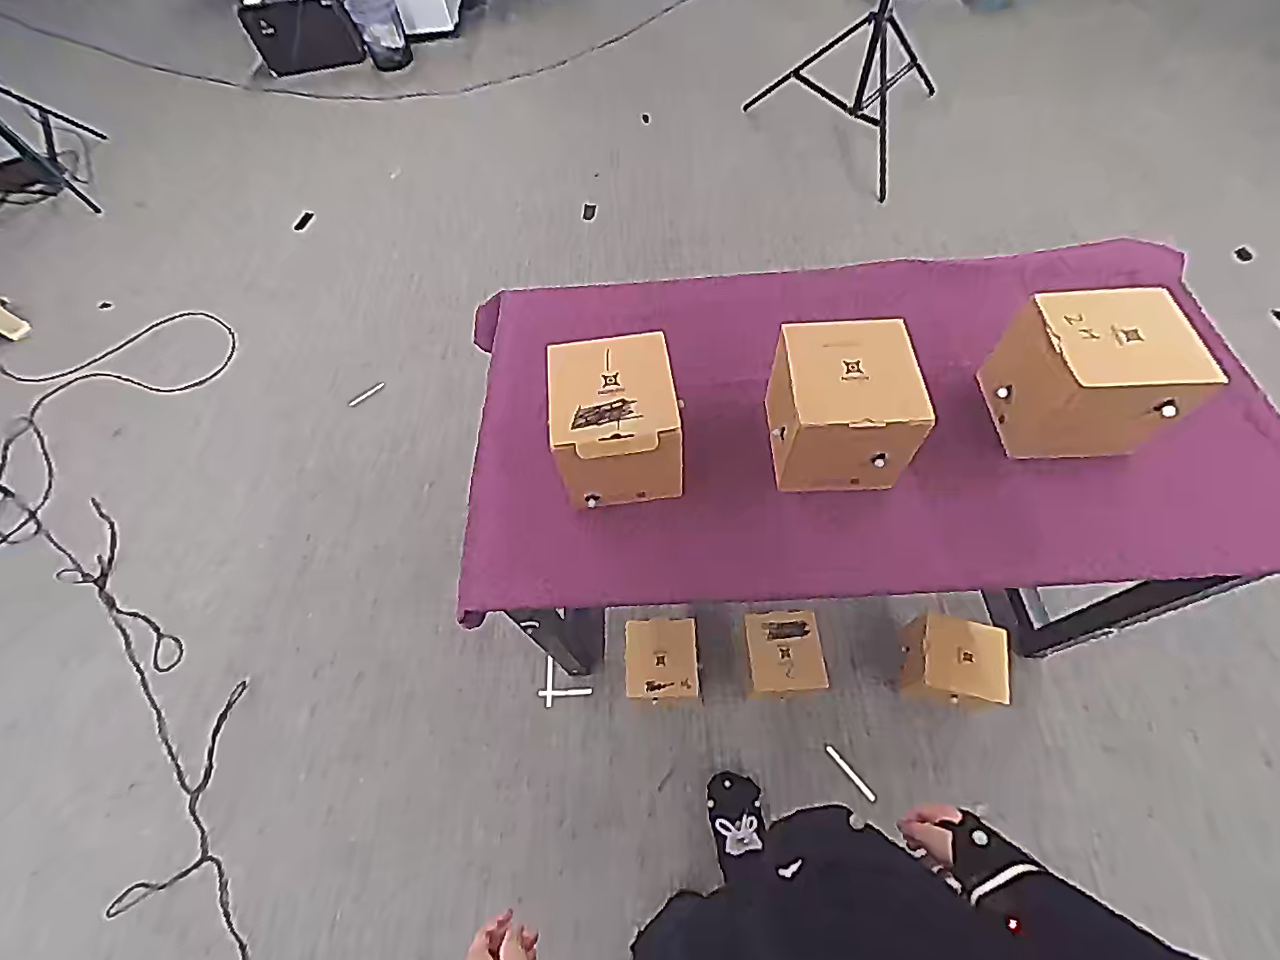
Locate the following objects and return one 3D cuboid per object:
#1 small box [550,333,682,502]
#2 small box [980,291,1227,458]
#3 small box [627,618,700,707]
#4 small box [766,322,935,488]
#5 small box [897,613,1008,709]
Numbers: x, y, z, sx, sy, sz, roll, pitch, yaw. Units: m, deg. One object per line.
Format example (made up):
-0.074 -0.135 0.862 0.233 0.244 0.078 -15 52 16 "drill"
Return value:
-0.031 -0.080 0.775 0.168 0.176 0.179 -7 59 0 "small box"
0.626 -0.142 0.761 0.179 0.176 0.168 -2 60 4 "small box"
0.056 0.446 1.314 0.168 0.176 0.179 -2 60 3 "small box"
0.280 -0.098 0.764 0.168 0.176 0.179 -2 59 2 "small box"
0.728 0.431 1.272 0.179 0.176 0.168 11 63 11 "small box"
